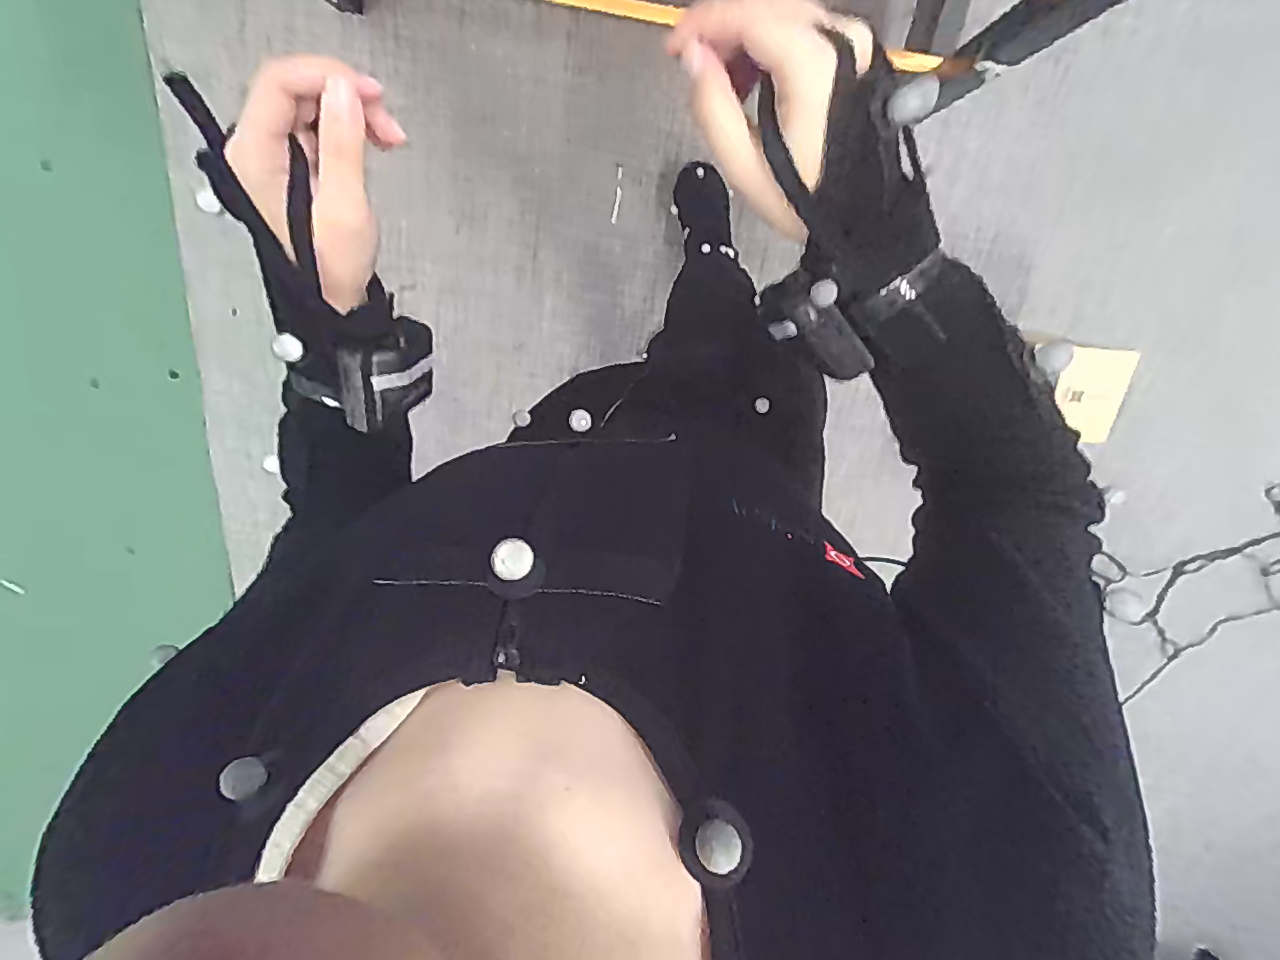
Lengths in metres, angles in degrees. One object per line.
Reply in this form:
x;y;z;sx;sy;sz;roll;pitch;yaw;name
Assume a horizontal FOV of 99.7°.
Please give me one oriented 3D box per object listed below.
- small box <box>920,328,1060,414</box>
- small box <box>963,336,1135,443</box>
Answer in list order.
0.746;-0.236;1.171;0.179;0.176;0.168;4;110;2;small box
0.751;-0.176;1.018;0.179;0.176;0.168;4;111;0;small box
